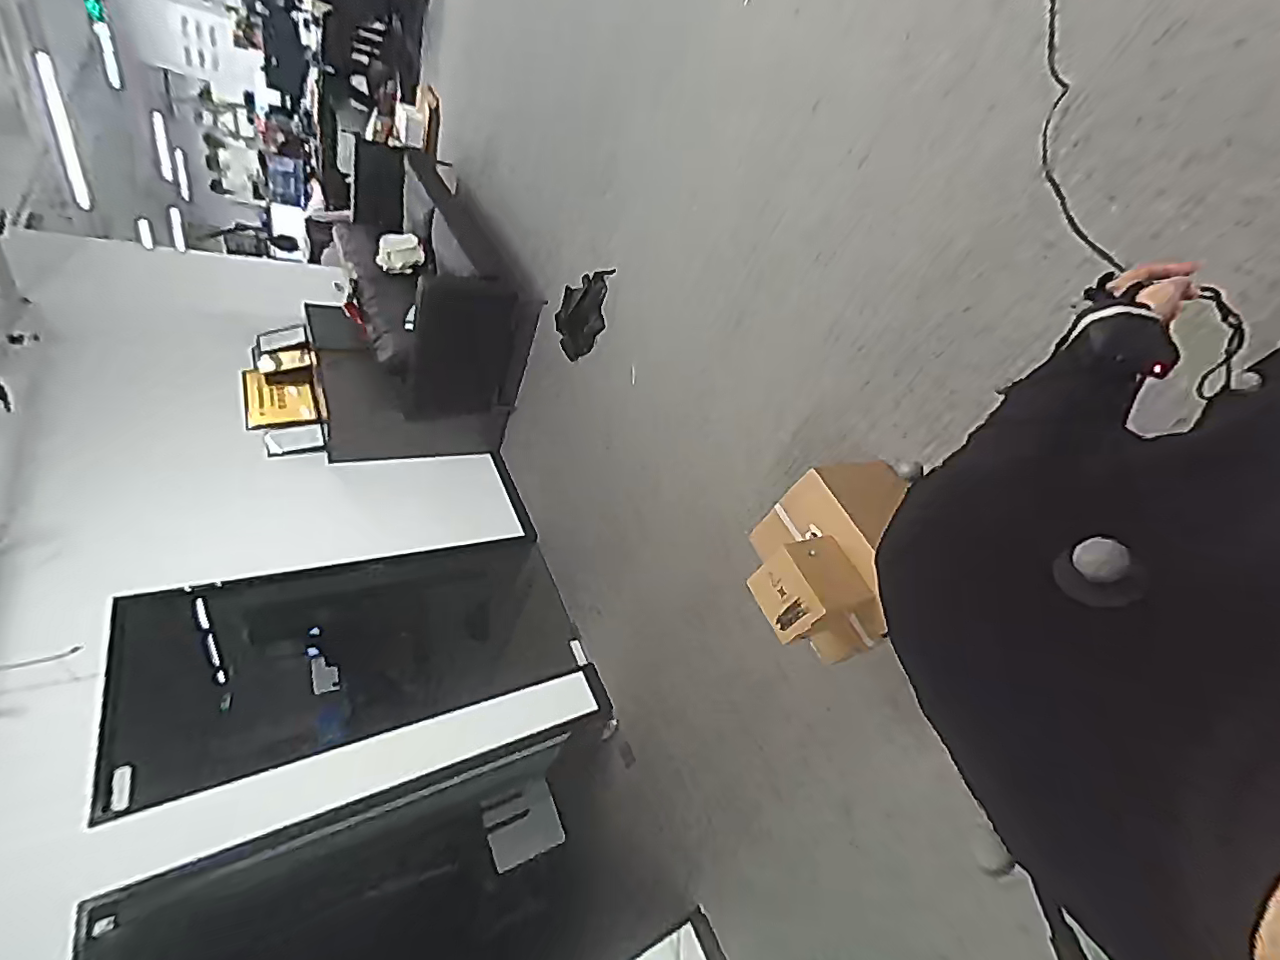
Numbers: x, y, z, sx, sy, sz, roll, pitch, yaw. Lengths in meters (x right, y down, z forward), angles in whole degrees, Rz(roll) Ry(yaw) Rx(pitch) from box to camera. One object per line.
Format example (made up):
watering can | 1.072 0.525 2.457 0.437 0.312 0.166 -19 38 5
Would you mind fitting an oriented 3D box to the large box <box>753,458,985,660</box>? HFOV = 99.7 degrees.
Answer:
large box | 0.583 0.194 1.426 0.408 0.320 0.320 63 140 30
